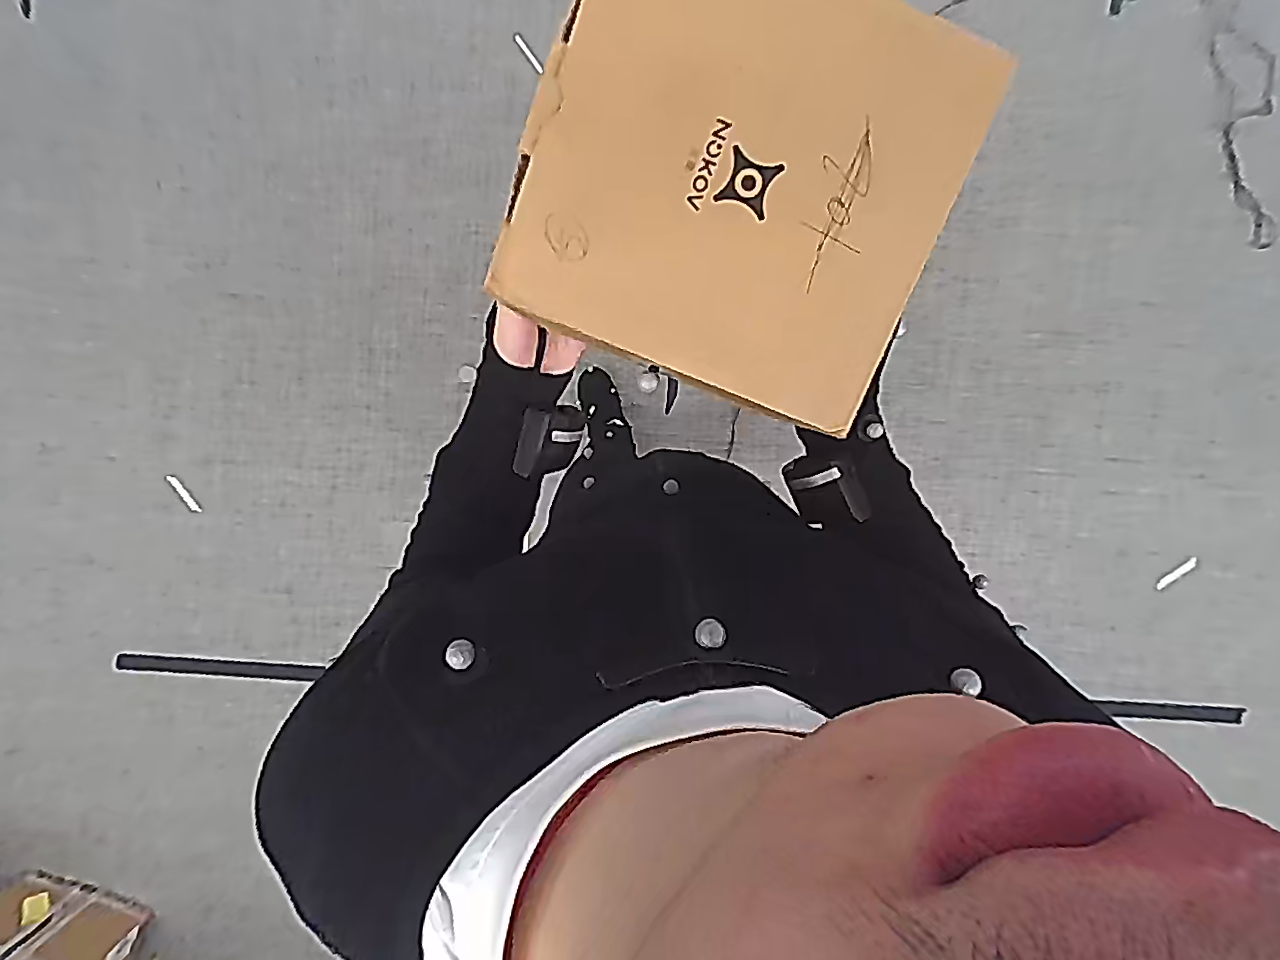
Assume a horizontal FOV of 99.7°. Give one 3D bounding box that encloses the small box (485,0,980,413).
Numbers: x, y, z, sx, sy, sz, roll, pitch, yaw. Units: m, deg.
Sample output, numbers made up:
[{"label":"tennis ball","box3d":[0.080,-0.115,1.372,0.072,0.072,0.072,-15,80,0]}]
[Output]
[{"label":"small box","box3d":[0.037,-0.148,0.317,0.179,0.176,0.168,20,101,-4]}]
